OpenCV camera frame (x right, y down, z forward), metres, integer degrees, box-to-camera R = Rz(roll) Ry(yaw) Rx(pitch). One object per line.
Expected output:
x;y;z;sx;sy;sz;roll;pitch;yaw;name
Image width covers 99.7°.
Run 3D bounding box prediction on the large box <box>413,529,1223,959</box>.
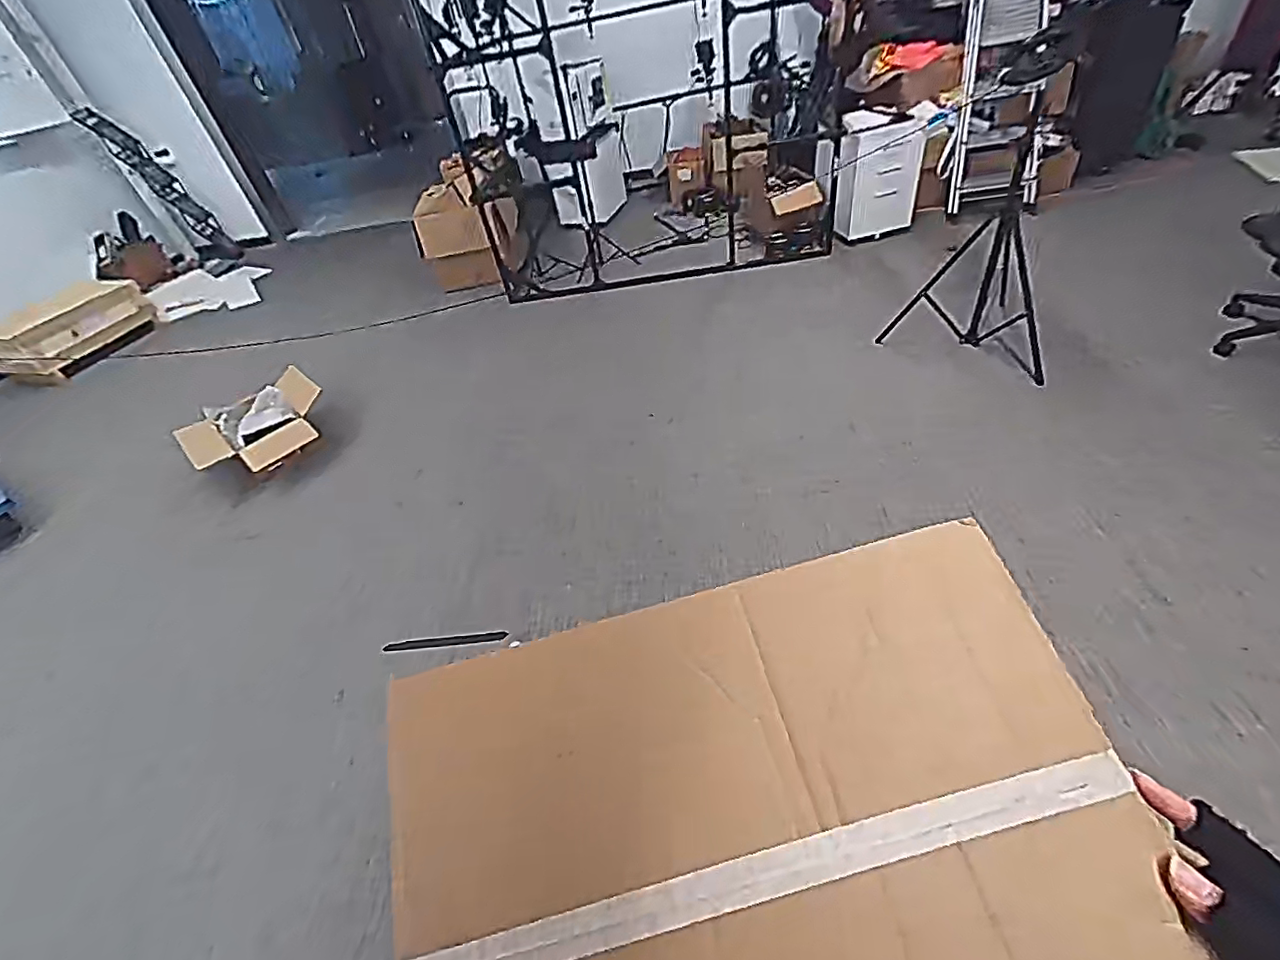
0.090;0.286;0.432;0.408;0.320;0.320;-16;64;0;large box
